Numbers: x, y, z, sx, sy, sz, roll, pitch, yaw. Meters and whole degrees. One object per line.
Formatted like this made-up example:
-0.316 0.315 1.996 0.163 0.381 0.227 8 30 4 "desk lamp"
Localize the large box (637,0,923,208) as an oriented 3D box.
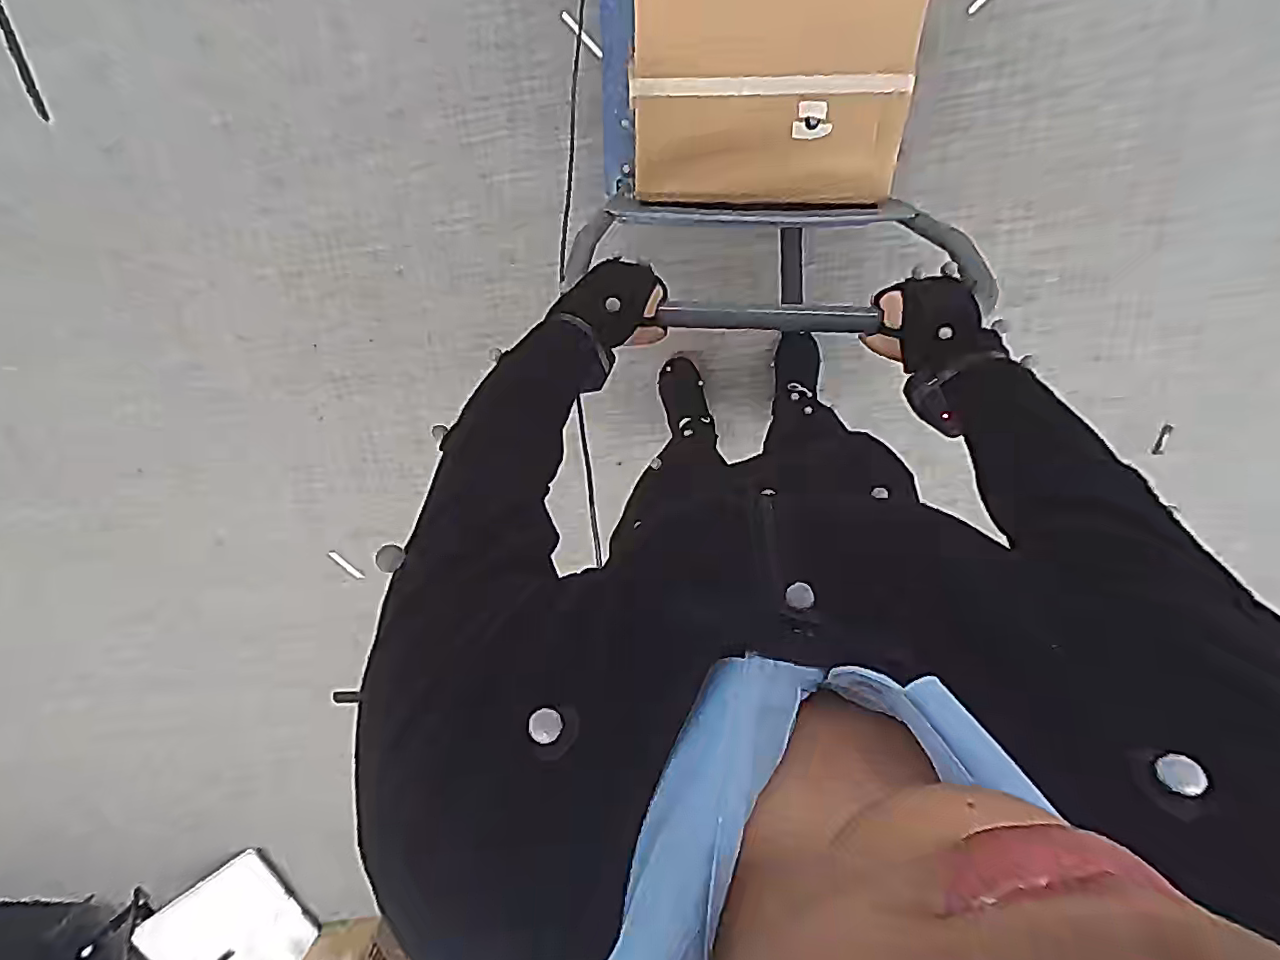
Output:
0.208 -0.662 0.941 0.408 0.320 0.320 2 121 4 "large box"
